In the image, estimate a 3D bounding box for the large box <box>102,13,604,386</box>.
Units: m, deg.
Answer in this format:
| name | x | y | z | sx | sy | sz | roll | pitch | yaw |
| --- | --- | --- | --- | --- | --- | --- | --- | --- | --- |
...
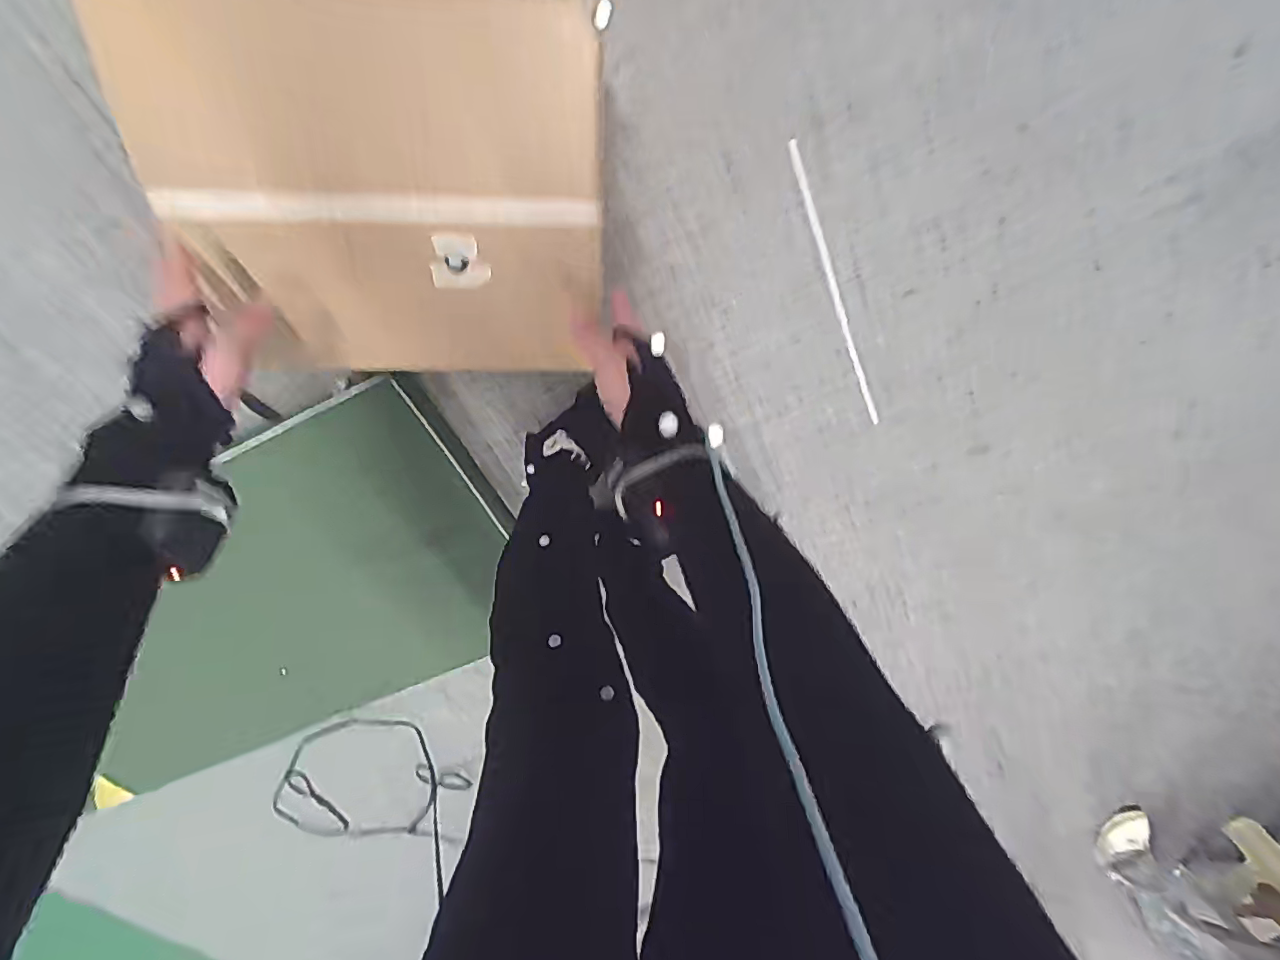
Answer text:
| name | x | y | z | sx | sy | sz | roll | pitch | yaw |
| --- | --- | --- | --- | --- | --- | --- | --- | --- | --- |
| large box | -0.250 | -0.312 | 0.645 | 0.408 | 0.320 | 0.320 | -1 | 120 | -4 |
